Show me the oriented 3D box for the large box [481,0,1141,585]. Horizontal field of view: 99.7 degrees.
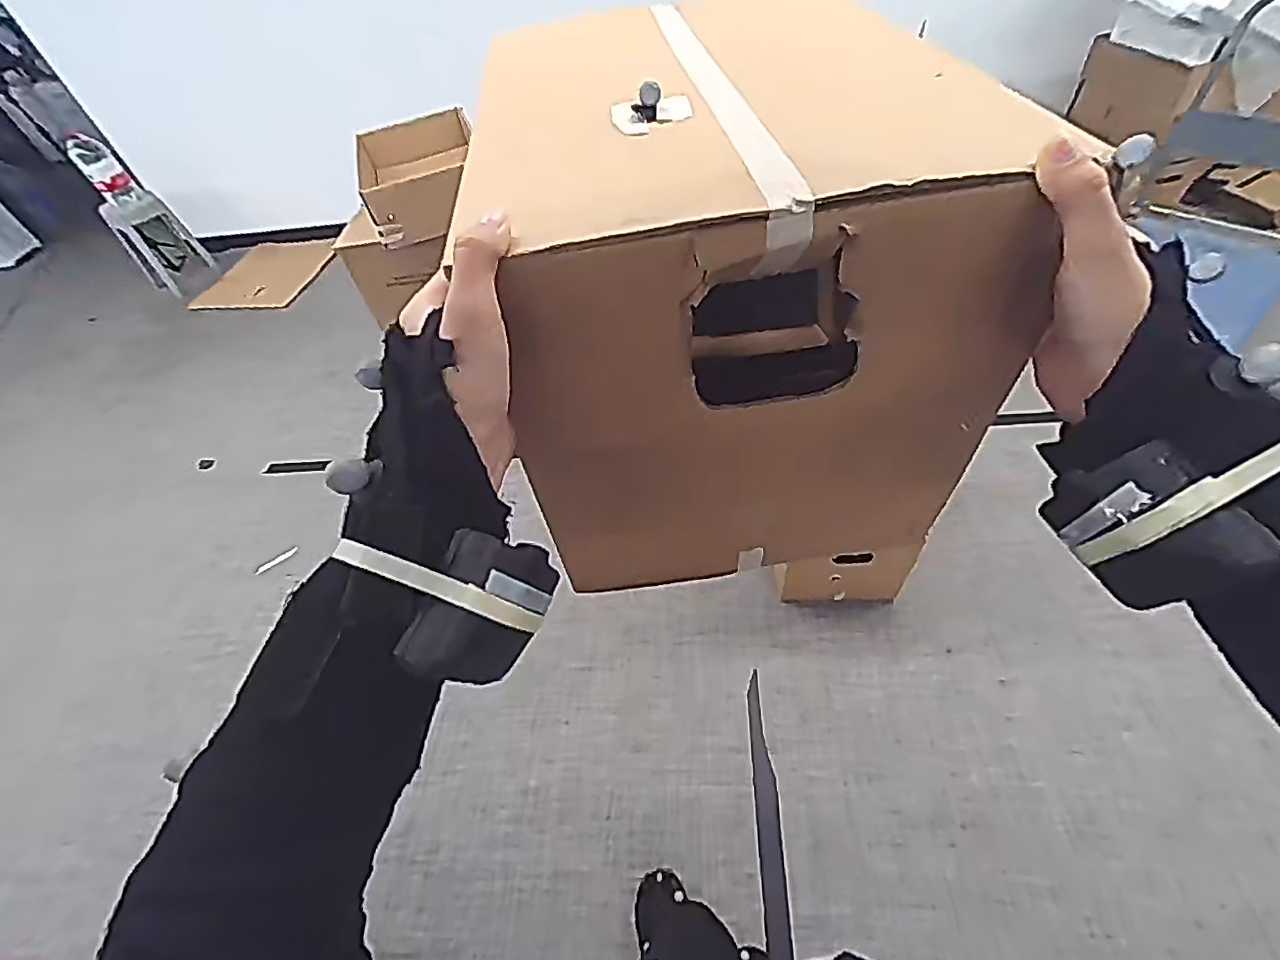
[{"bbox_3d":[0.065,-0.172,0.482,0.320,0.320,0.408,-10,51,0],"label":"large box"}]
